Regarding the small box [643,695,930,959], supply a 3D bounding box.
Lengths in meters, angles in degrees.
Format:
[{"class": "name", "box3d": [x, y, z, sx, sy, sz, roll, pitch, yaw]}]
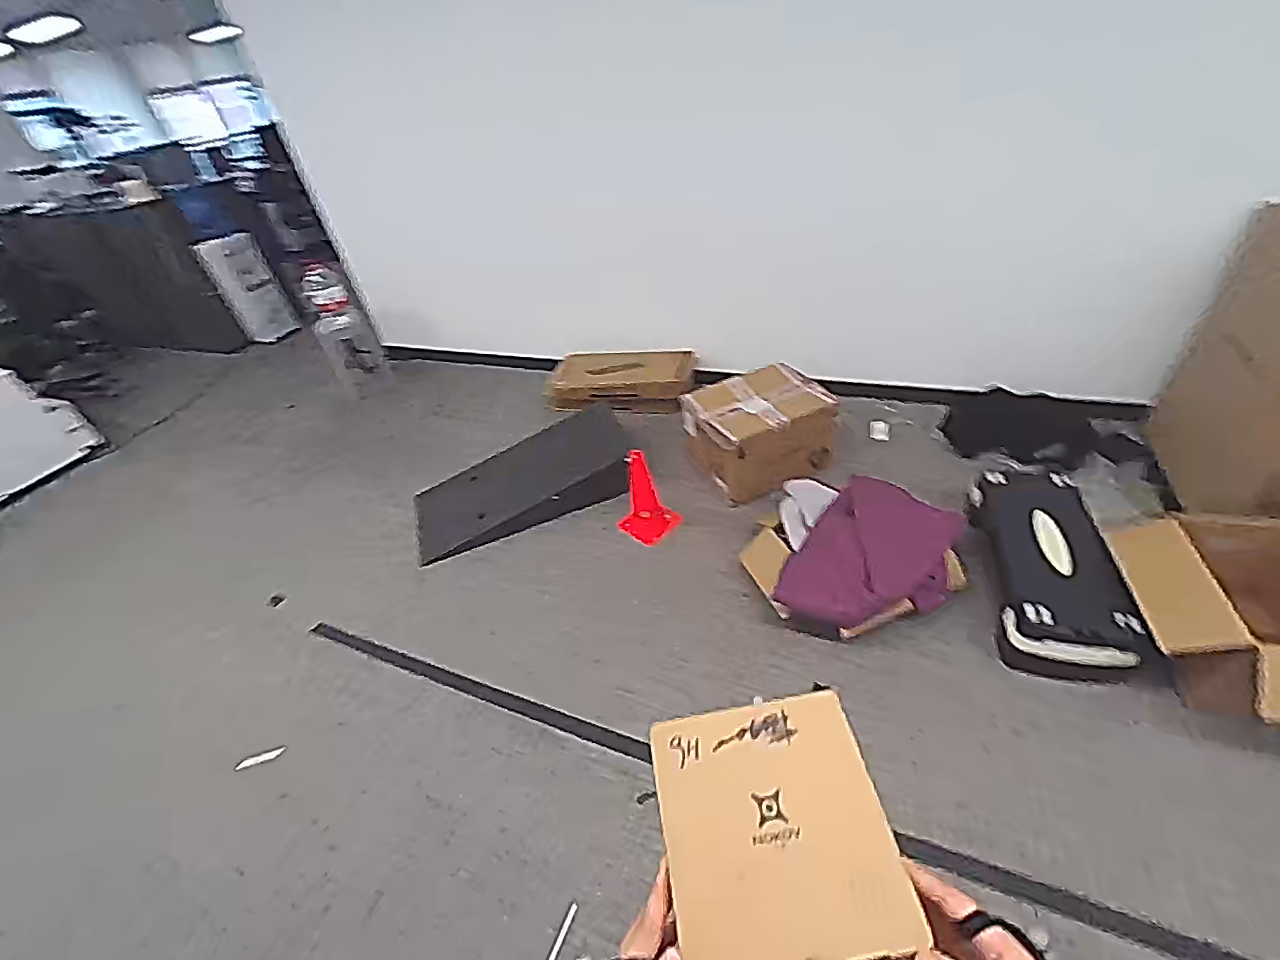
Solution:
[{"class": "small box", "box3d": [0.106, 0.313, 0.457, 0.168, 0.176, 0.179, -12, 46, -1]}]
